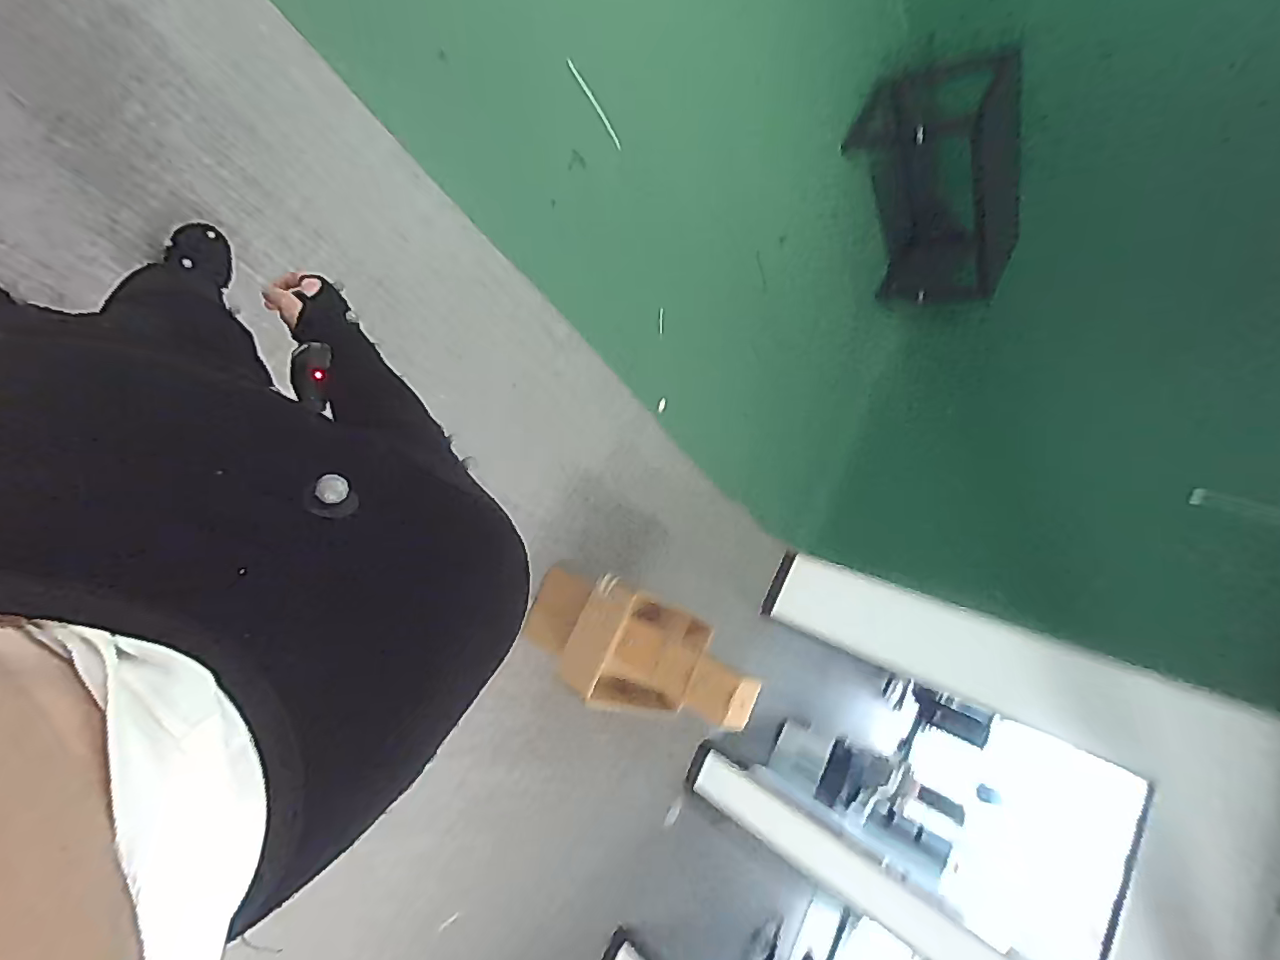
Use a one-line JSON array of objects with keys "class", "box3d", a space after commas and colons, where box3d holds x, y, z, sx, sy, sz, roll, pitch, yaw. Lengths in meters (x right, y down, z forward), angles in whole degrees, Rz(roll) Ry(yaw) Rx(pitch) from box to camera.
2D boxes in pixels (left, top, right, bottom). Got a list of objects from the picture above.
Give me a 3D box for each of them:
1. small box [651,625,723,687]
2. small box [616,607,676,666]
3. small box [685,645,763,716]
[{"class": "small box", "box3d": [0.166, 0.634, 1.932, 0.179, 0.176, 0.168, 34, 78, -51]}, {"class": "small box", "box3d": [0.044, 0.596, 2.035, 0.179, 0.176, 0.168, 37, 75, -49]}, {"class": "small box", "box3d": [0.282, 0.674, 1.826, 0.179, 0.176, 0.168, 33, 79, -49]}]
